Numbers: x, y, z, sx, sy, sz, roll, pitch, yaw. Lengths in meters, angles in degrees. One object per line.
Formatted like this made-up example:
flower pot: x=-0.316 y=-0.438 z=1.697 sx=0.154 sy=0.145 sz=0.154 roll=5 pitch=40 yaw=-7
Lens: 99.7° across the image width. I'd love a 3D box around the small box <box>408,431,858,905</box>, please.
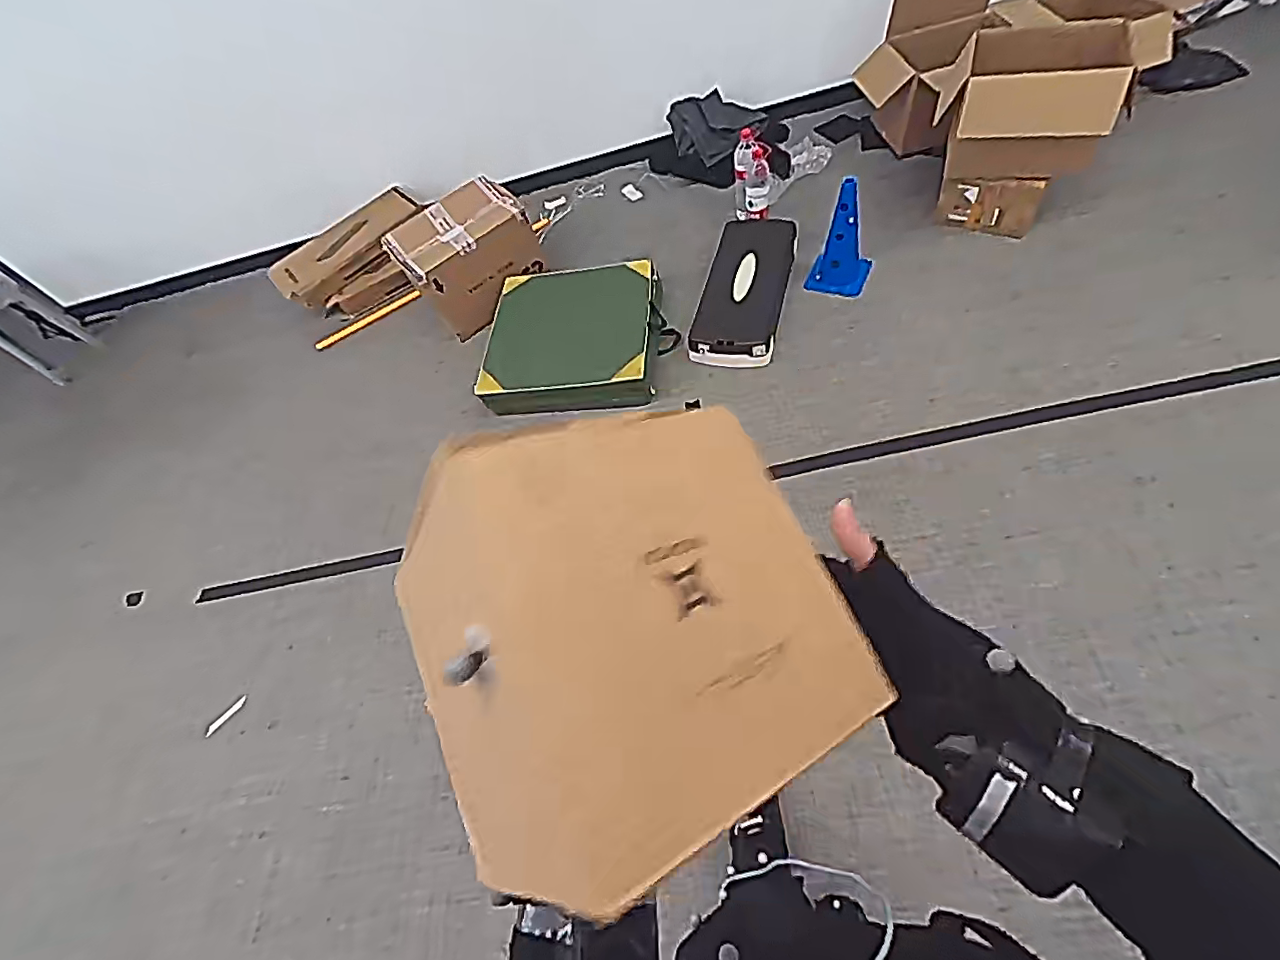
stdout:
small box: x=-0.025 y=0.098 z=0.312 sx=0.168 sy=0.176 sz=0.179 roll=-13 pitch=67 yaw=-33
